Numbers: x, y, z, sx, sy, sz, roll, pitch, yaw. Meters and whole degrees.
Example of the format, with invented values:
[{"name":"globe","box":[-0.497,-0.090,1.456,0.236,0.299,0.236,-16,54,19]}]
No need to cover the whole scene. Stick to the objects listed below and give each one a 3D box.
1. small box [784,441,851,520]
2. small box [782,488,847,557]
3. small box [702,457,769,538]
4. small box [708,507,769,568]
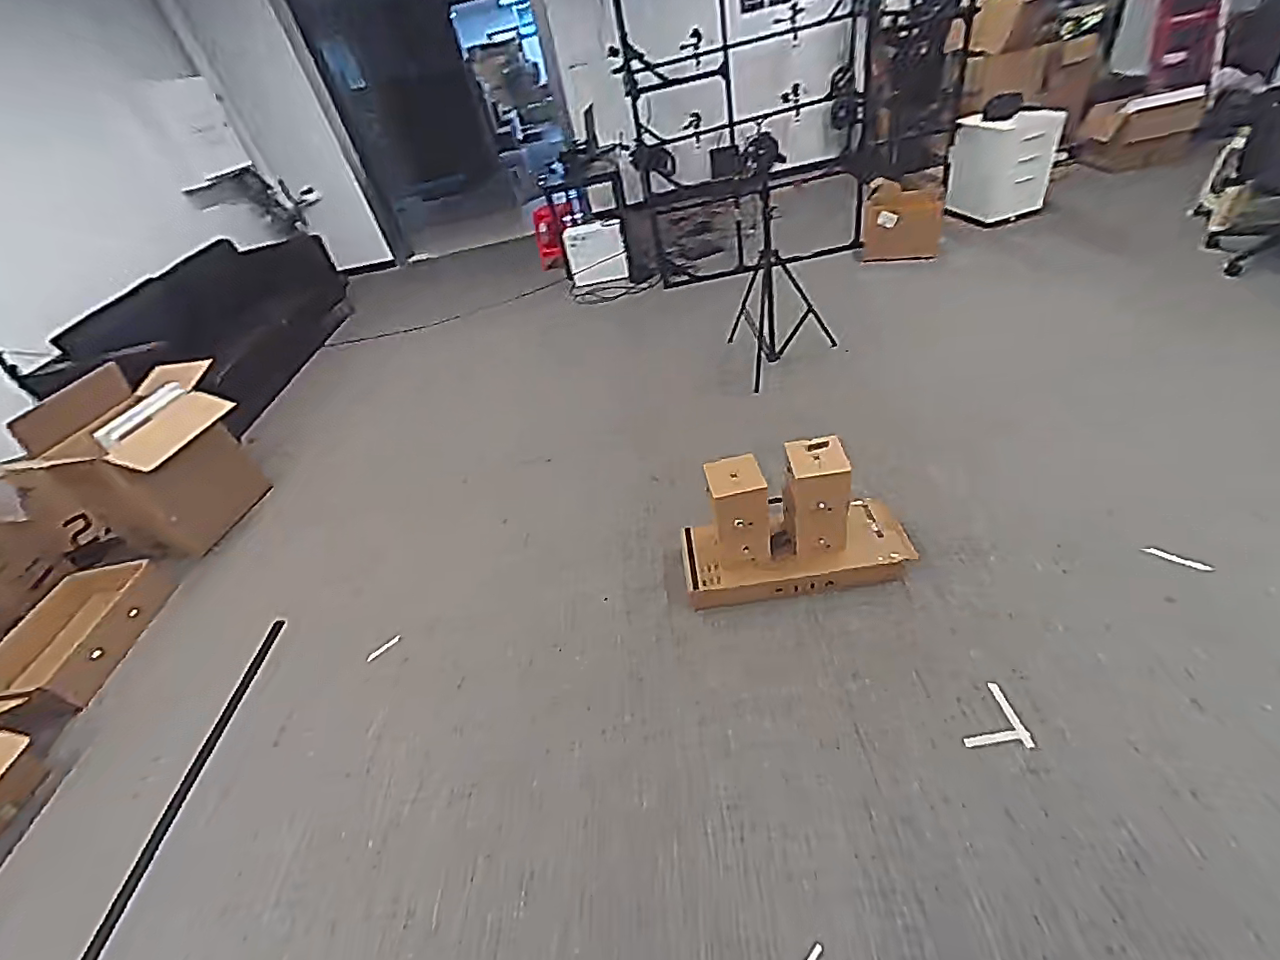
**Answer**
[{"name":"small box","box":[0.553,0.002,1.703,0.168,0.176,0.179,-9,39,8]},{"name":"small box","box":[0.576,0.129,1.804,0.168,0.176,0.179,-11,38,5]},{"name":"small box","box":[0.302,0.056,1.715,0.168,0.176,0.179,-14,39,2]},{"name":"small box","box":[0.333,0.178,1.819,0.168,0.176,0.179,-12,39,3]}]
